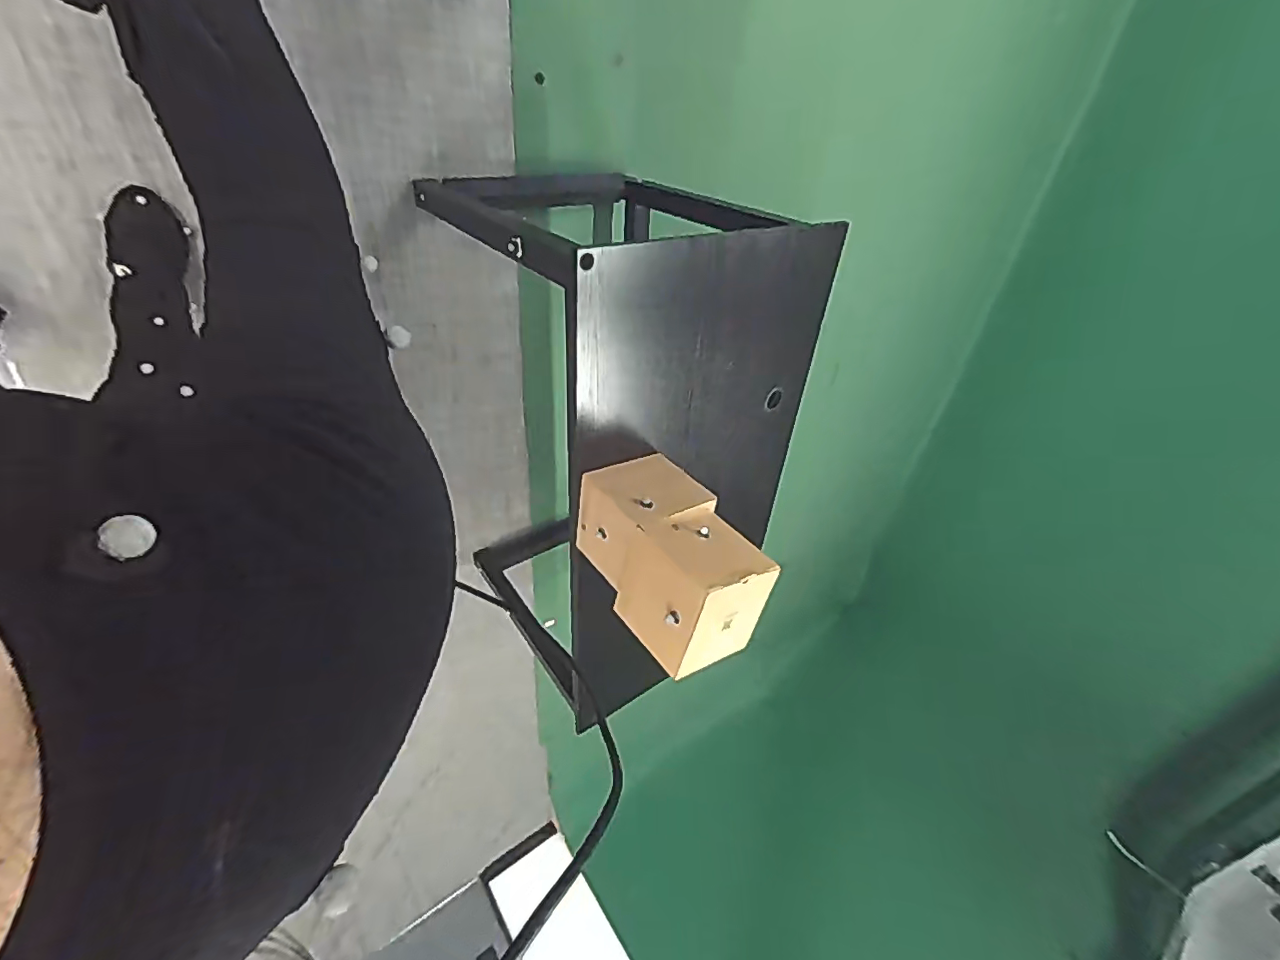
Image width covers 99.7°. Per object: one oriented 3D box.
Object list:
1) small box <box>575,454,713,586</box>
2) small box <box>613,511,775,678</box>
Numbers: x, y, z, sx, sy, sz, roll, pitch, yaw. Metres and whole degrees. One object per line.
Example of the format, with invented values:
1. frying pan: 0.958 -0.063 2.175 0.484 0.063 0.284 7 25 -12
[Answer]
1. small box: -0.001 0.074 0.972 0.179 0.176 0.168 -17 132 -34
2. small box: 0.077 0.174 0.868 0.168 0.176 0.179 -9 126 -39
